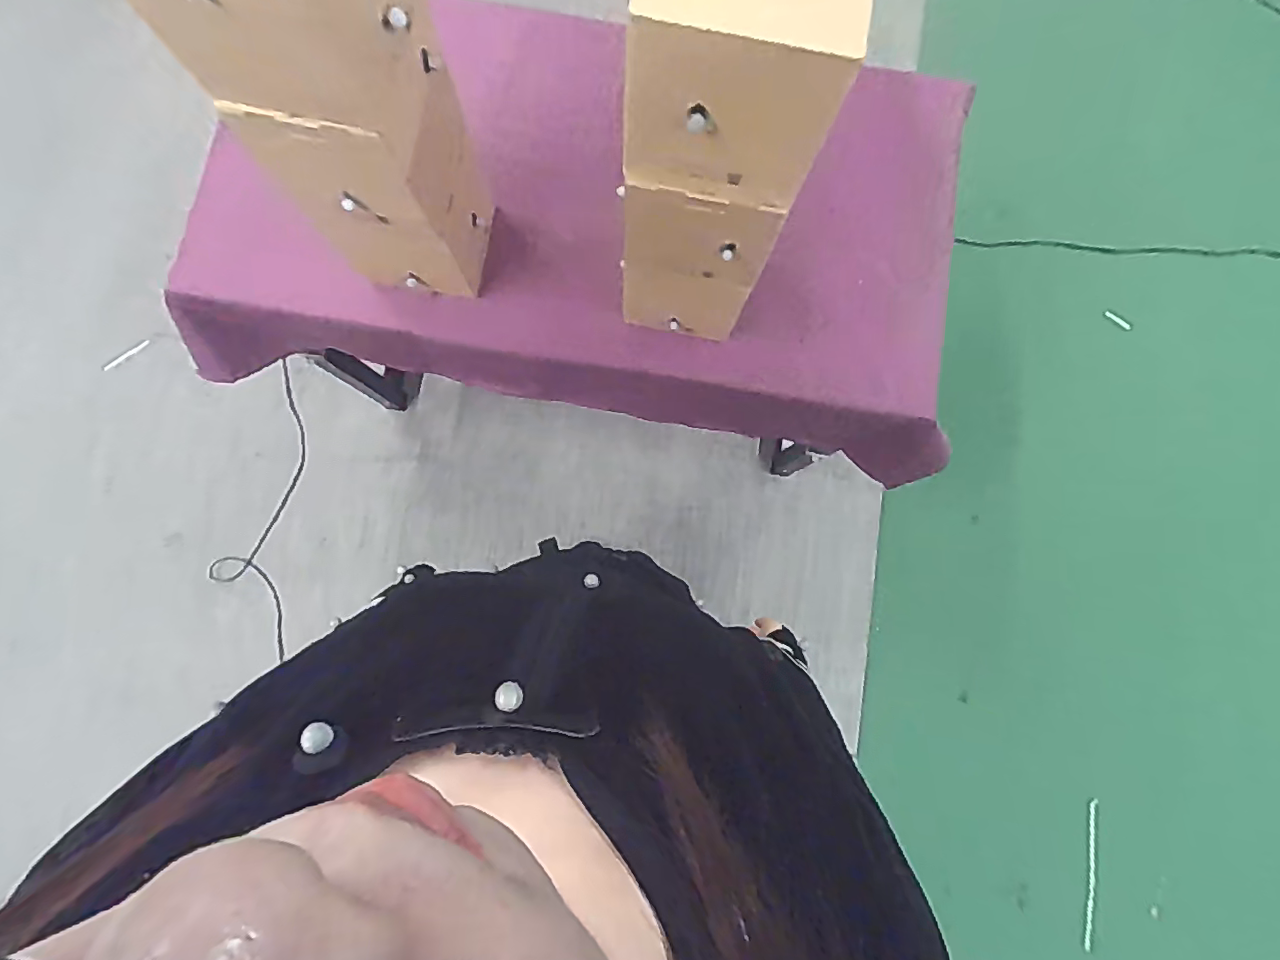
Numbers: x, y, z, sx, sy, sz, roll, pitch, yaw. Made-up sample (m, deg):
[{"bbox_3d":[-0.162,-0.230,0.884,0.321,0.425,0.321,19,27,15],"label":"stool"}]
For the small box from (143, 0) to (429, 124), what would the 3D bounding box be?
[{"bbox_3d":[-0.305,-0.441,0.451,0.179,0.176,0.168,11,82,-2],"label":"small box"}]

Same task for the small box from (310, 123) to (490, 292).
[{"bbox_3d":[-0.326,-0.391,0.777,0.179,0.176,0.168,8,82,-2],"label":"small box"}]

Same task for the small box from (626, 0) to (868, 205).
[{"bbox_3d":[0.083,-0.371,0.462,0.168,0.176,0.179,10,82,-1],"label":"small box"}]

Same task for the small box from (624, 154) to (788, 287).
[{"bbox_3d":[0.078,-0.349,0.622,0.168,0.176,0.179,10,82,-1],"label":"small box"}]

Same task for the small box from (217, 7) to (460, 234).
[{"bbox_3d":[-0.318,-0.418,0.614,0.168,0.176,0.179,10,82,-1],"label":"small box"}]
